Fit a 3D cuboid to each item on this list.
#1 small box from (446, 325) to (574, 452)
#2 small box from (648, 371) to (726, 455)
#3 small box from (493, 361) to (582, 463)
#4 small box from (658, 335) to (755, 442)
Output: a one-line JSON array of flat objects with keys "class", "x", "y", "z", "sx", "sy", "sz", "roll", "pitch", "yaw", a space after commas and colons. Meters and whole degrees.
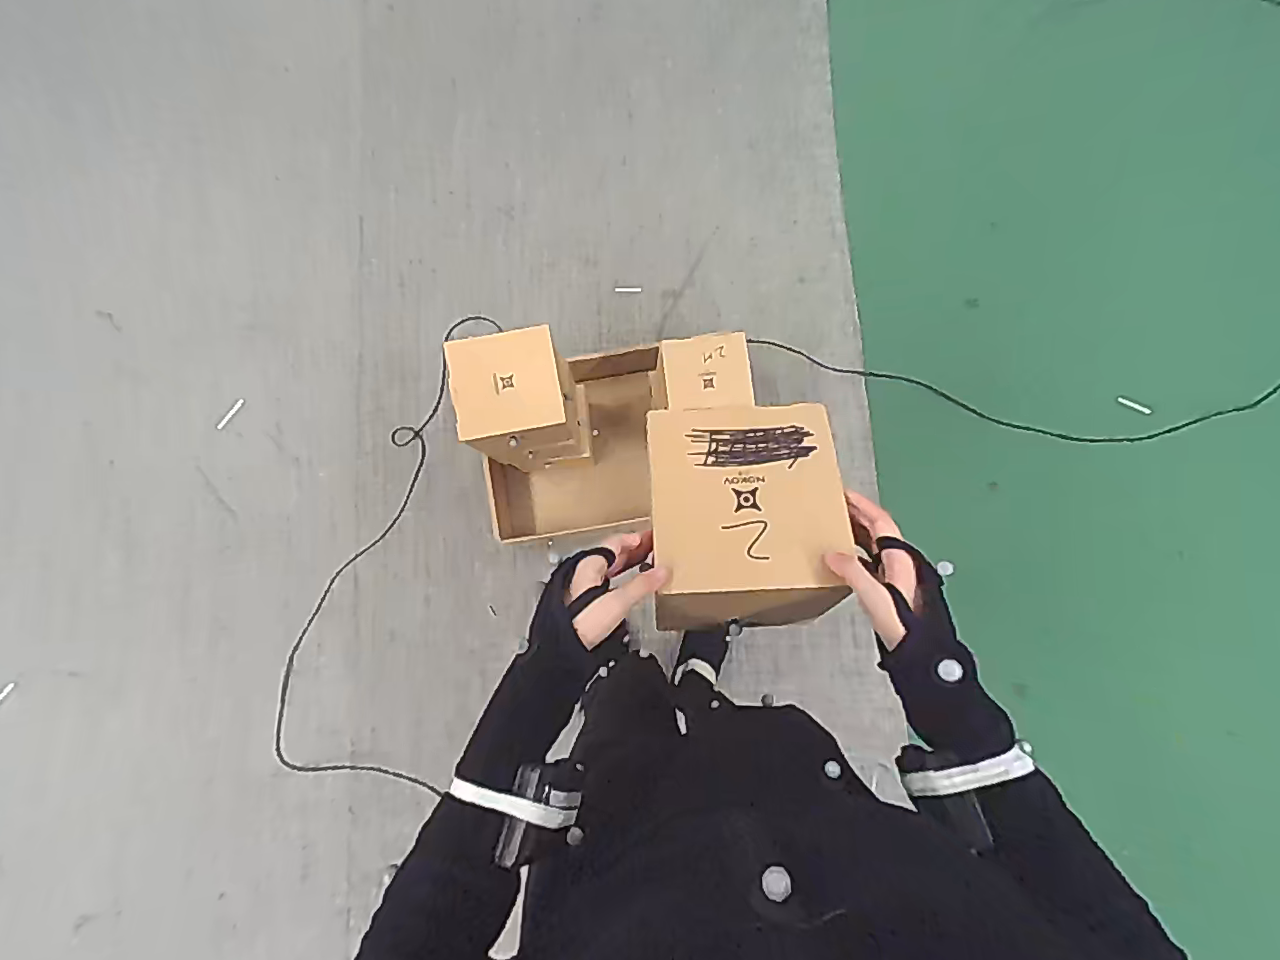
[{"class": "small box", "x": -0.214, "y": -0.150, "z": 0.940, "sx": 0.179, "sy": 0.176, "sz": 0.168, "roll": -10, "pitch": 85, "yaw": -1}, {"class": "small box", "x": 0.113, "y": -0.157, "z": 1.271, "sx": 0.179, "sy": 0.176, "sz": 0.168, "roll": -5, "pitch": 83, "yaw": -1}, {"class": "small box", "x": -0.217, "y": -0.131, "z": 1.101, "sx": 0.179, "sy": 0.176, "sz": 0.168, "roll": -5, "pitch": 84, "yaw": -2}, {"class": "small box", "x": 0.129, "y": -0.178, "z": 1.108, "sx": 0.168, "sy": 0.176, "sz": 0.179, "roll": -5, "pitch": 82, "yaw": -2}]
